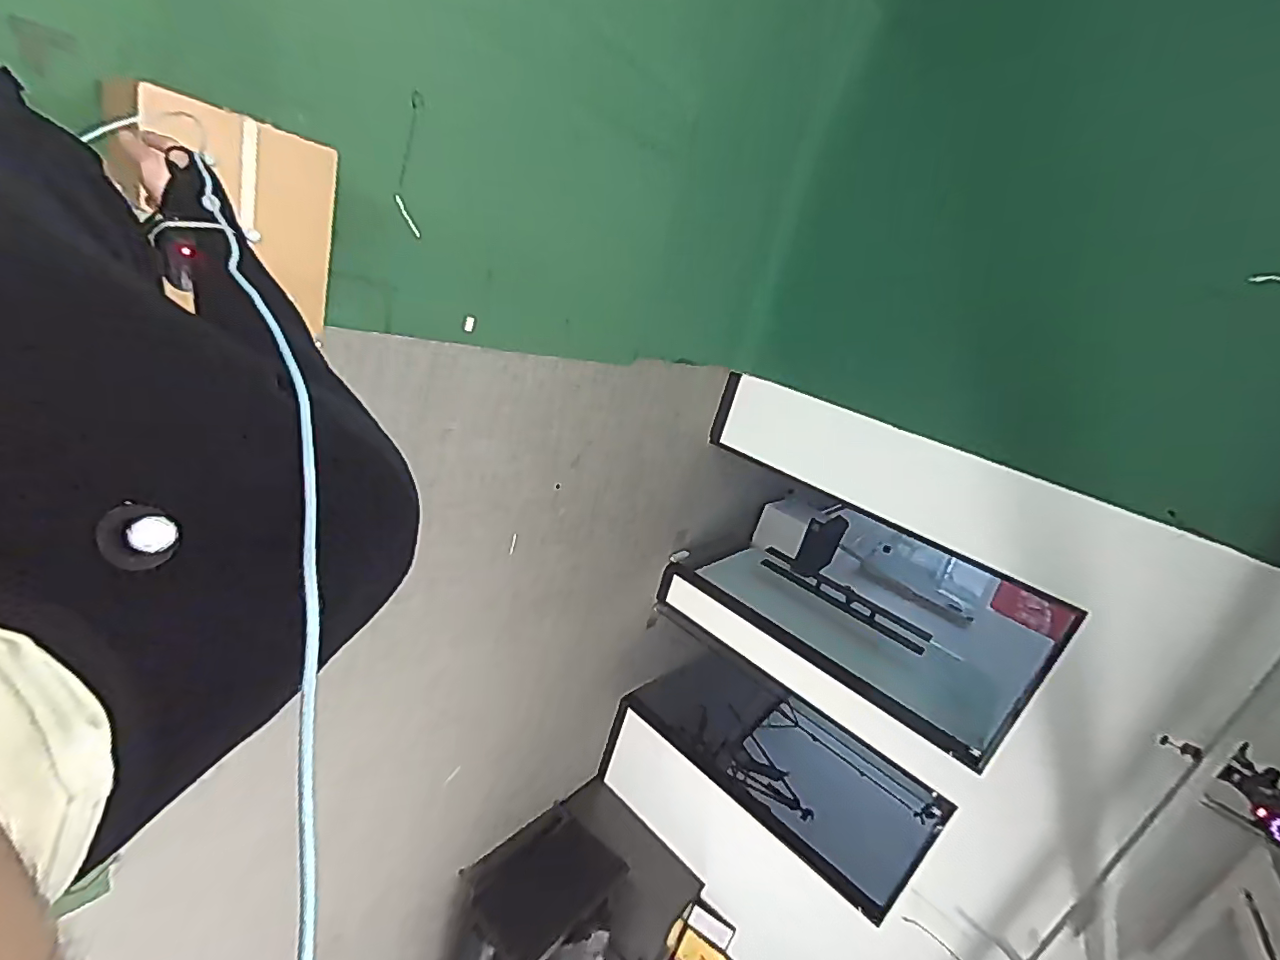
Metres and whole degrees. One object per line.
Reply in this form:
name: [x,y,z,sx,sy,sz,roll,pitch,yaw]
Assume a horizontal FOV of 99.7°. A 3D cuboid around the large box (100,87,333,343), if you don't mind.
large box: [-0.895,-0.543,1.154,0.320,0.320,0.408,-9,122,-51]
